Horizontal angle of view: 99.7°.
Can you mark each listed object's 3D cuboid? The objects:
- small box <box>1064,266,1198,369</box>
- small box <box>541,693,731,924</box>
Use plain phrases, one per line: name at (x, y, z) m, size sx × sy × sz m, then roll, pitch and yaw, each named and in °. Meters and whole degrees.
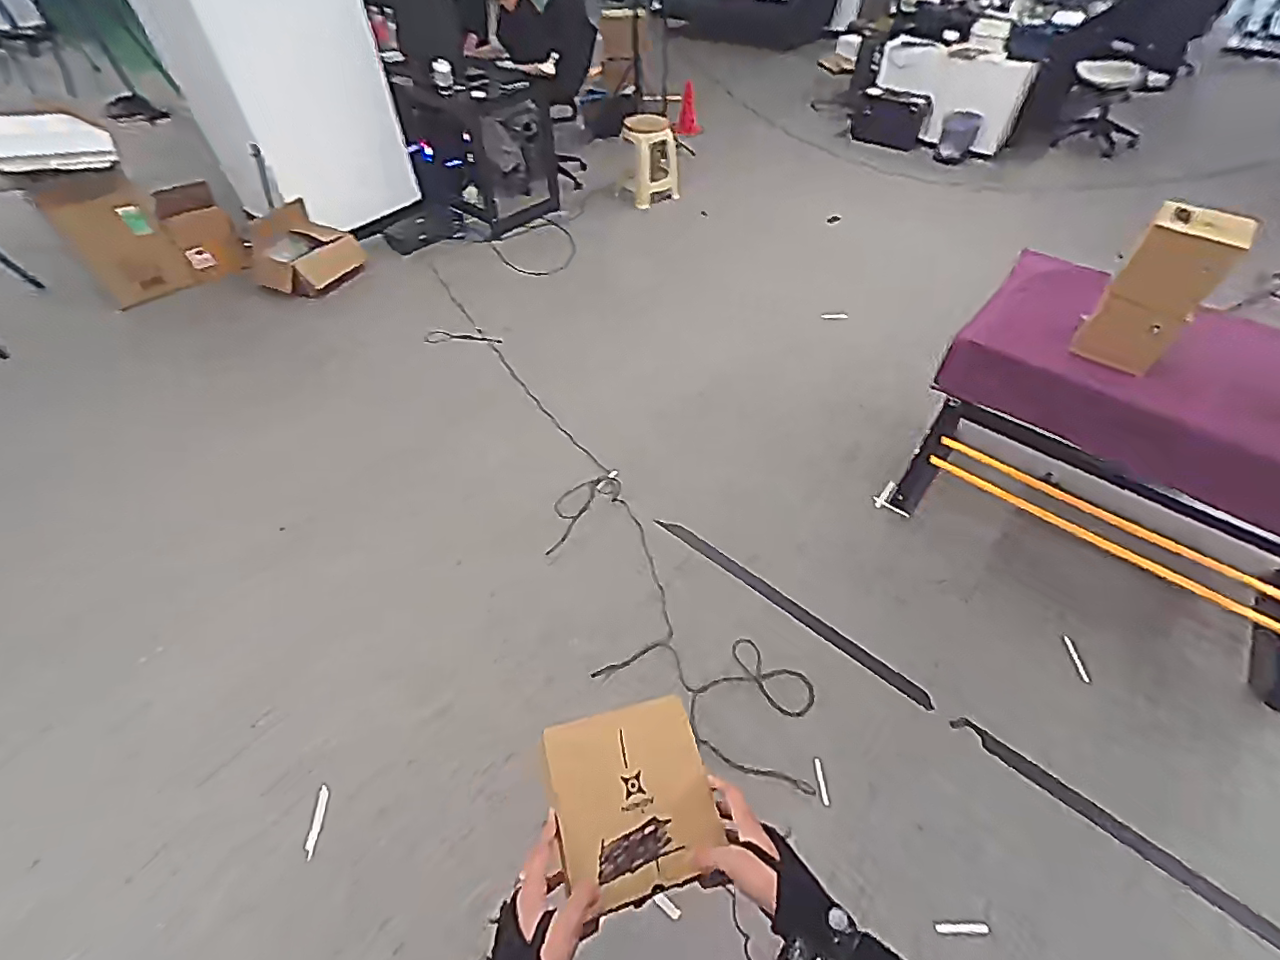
small box at (1.239, -0.407, 1.373) m, size 0.179 × 0.176 × 0.168 m, roll 34°, pitch 58°, yaw 26°
small box at (-0.019, 0.374, 0.627) m, size 0.168 × 0.176 × 0.179 m, roll -8°, pitch 56°, yaw -18°
